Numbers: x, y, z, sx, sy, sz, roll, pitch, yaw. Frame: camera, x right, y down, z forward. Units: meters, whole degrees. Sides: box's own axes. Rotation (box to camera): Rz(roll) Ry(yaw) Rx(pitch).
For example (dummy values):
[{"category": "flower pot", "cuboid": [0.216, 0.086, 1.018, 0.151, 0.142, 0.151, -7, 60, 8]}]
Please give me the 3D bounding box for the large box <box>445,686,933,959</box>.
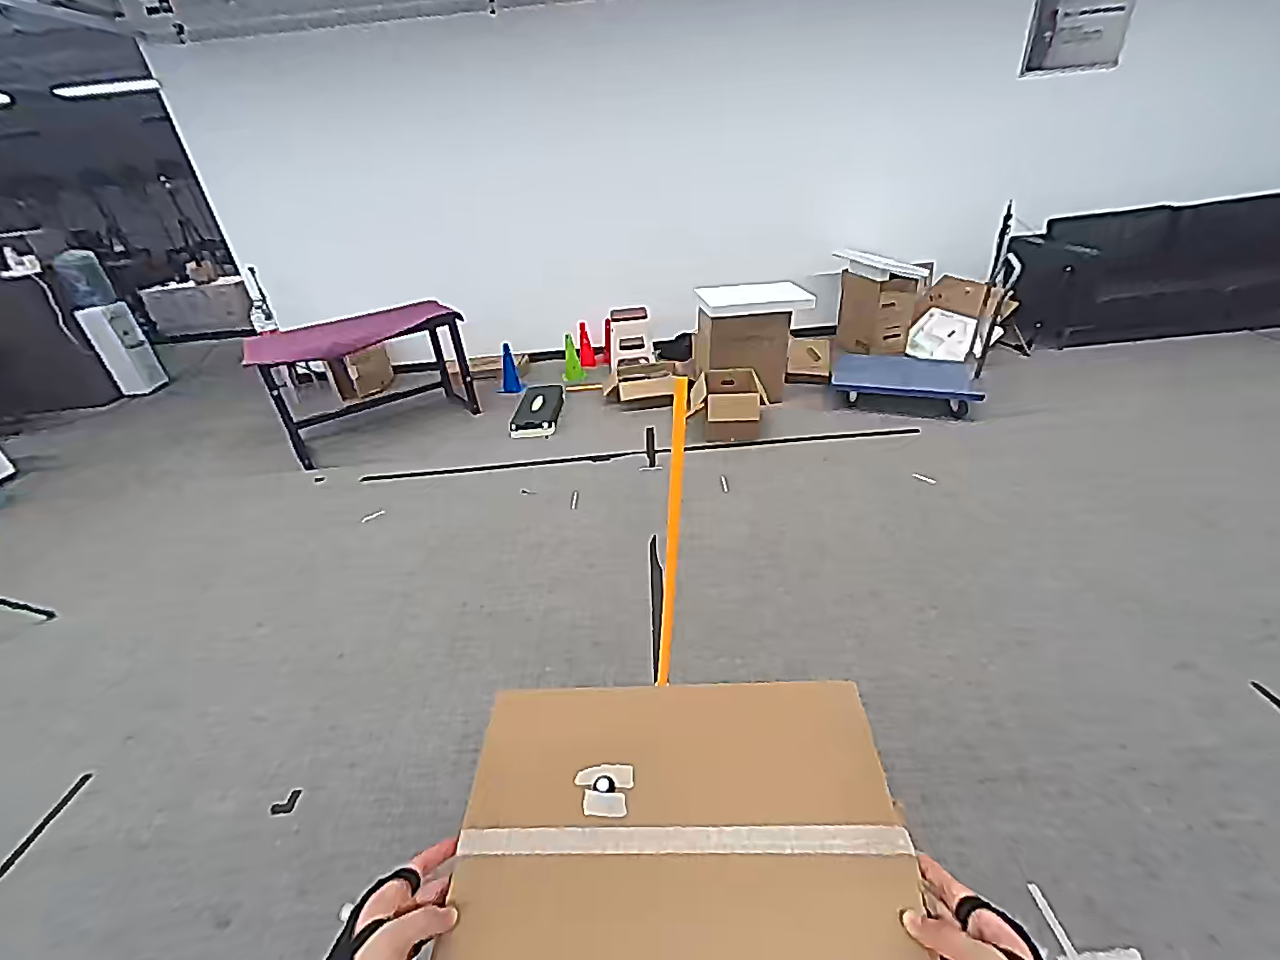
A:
[{"category": "large box", "cuboid": [0.052, 0.454, 0.593, 0.408, 0.320, 0.320, -4, 38, 6]}]
